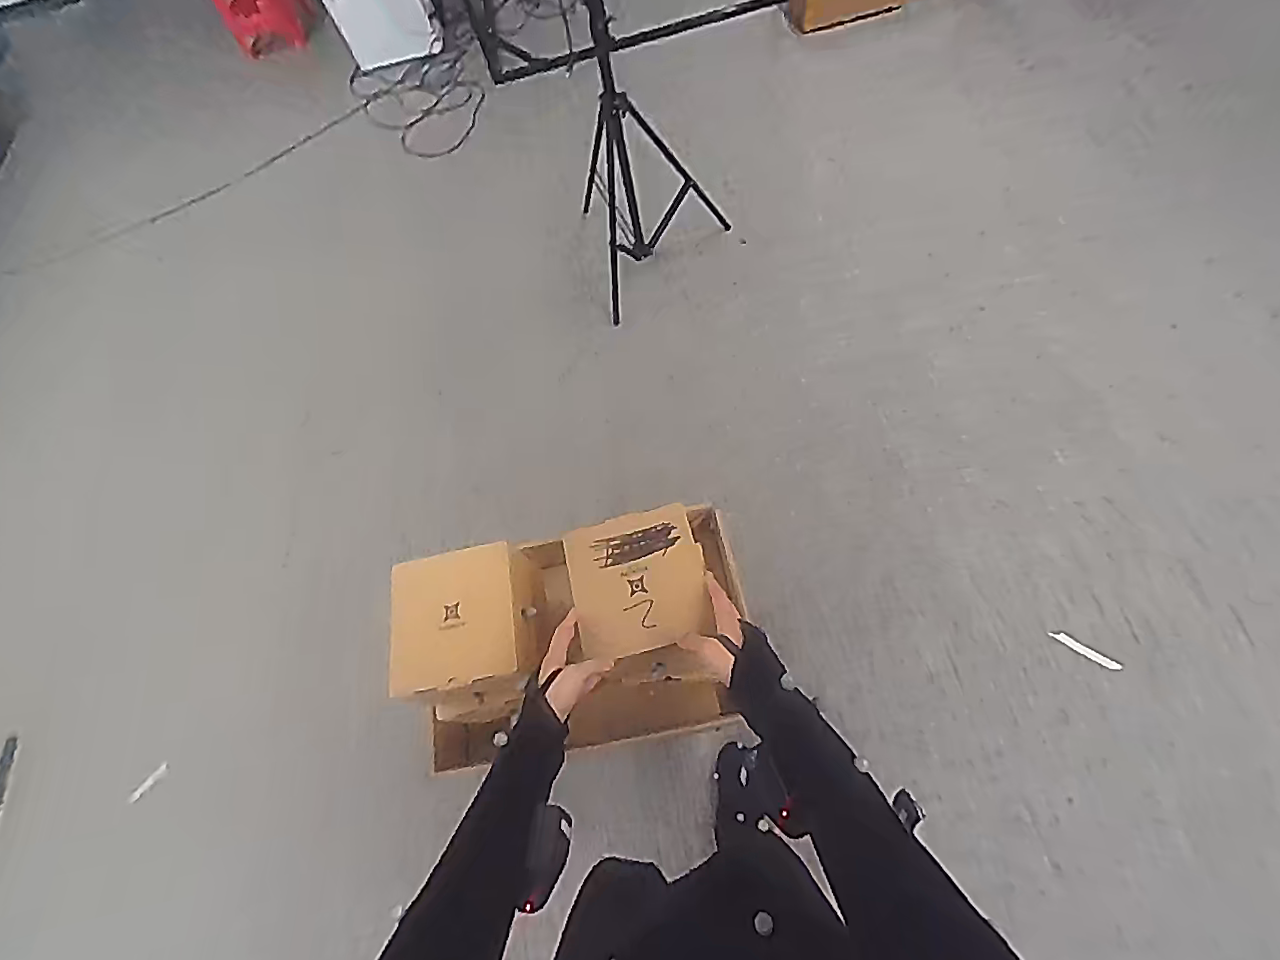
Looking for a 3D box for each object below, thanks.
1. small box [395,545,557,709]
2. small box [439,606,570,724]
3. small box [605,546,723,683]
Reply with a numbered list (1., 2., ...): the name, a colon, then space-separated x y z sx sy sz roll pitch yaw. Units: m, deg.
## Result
1. small box: -0.224 0.214 0.764 0.168 0.176 0.179 -13 65 2
2. small box: -0.226 0.299 0.905 0.168 0.176 0.179 -16 65 1
3. small box: 0.042 0.225 0.888 0.168 0.176 0.179 -9 64 5
